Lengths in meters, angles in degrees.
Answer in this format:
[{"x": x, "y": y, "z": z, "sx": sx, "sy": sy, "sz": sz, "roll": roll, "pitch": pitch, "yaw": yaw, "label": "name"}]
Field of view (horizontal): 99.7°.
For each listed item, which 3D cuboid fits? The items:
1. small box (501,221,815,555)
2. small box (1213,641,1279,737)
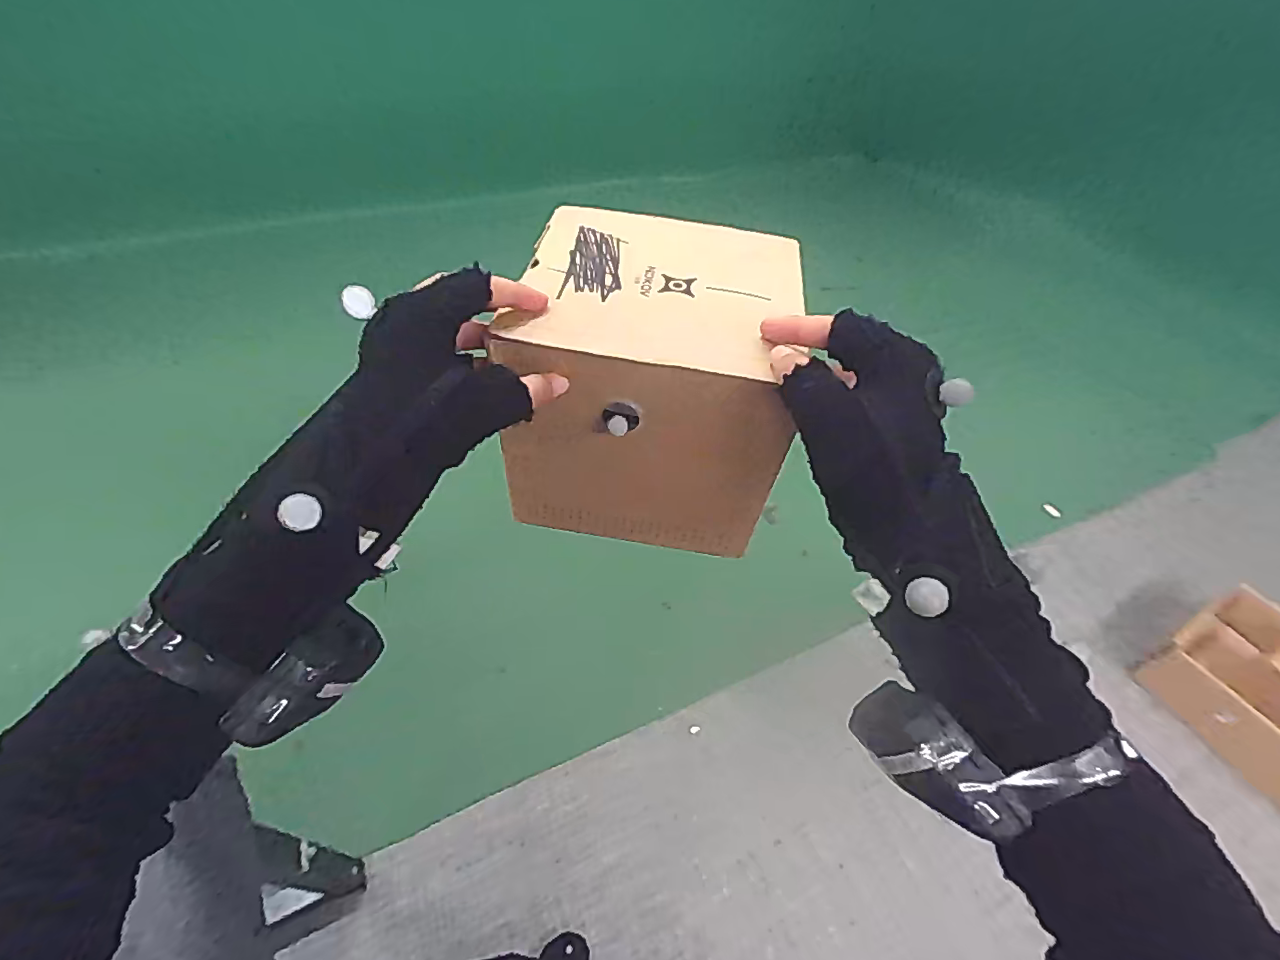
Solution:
[{"x": 0.014, "y": -0.063, "z": 0.402, "sx": 0.179, "sy": 0.176, "sz": 0.168, "roll": 10, "pitch": 49, "yaw": 2, "label": "small box"}, {"x": 1.701, "y": 0.545, "z": 1.425, "sx": 0.168, "sy": 0.176, "sz": 0.179, "roll": -18, "pitch": 55, "yaw": -18, "label": "small box"}]
